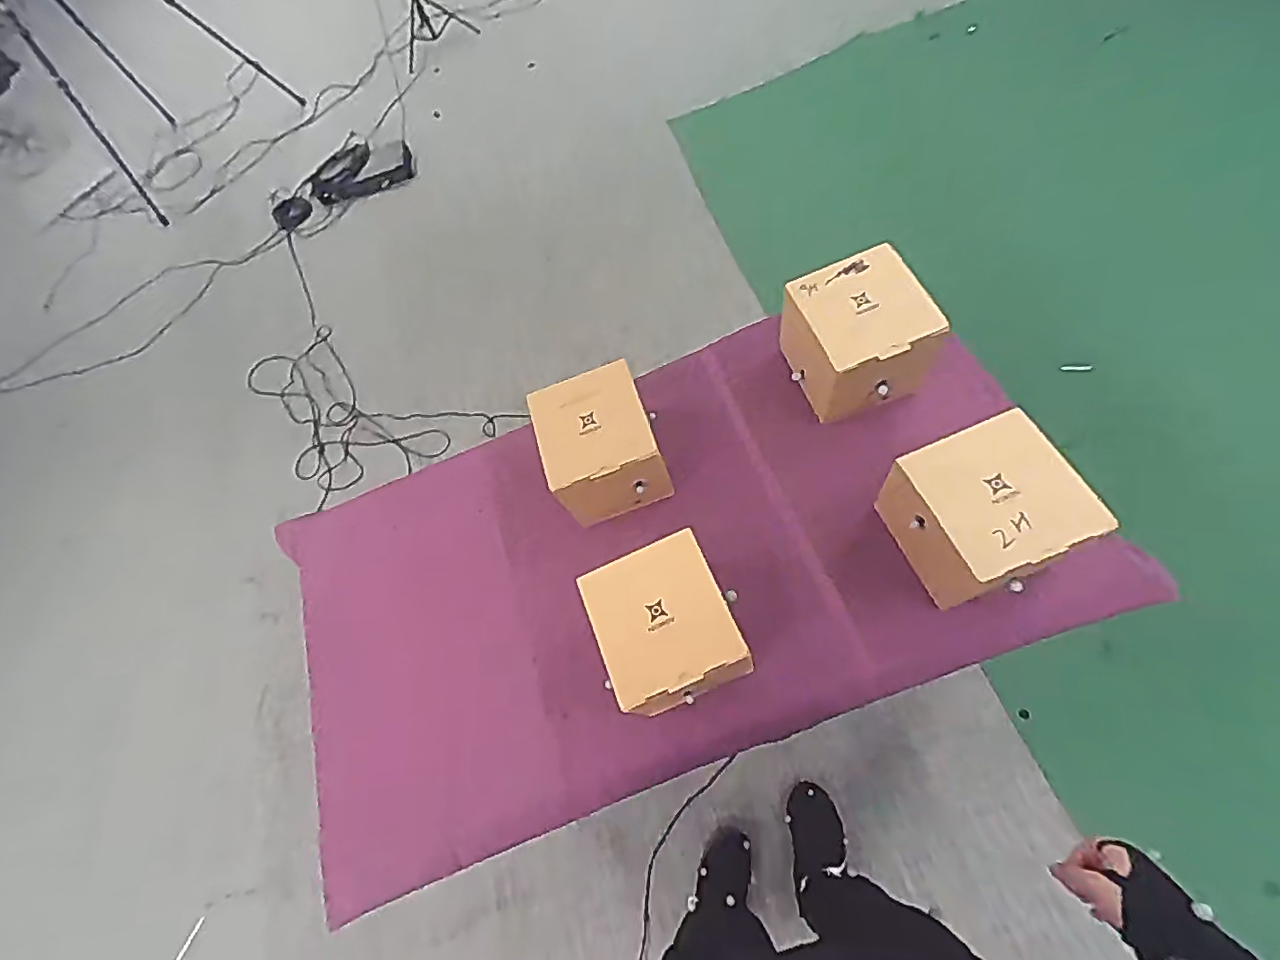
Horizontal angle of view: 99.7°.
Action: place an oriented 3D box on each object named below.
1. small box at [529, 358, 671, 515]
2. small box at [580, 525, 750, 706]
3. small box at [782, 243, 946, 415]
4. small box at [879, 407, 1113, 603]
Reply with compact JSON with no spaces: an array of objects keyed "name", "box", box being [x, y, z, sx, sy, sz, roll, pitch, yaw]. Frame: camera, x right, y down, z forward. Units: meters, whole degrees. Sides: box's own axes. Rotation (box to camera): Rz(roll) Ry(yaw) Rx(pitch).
[{"name":"small box","box":[-0.057,-0.058,0.869,0.168,0.176,0.179,-19,65,3]},{"name":"small box","box":[0.038,0.193,0.740,0.168,0.176,0.179,-25,64,1]},{"name":"small box","box":[0.336,-0.223,0.850,0.168,0.176,0.179,-21,67,3]},{"name":"small box","box":[0.441,0.041,0.712,0.168,0.176,0.179,-23,64,4]}]
